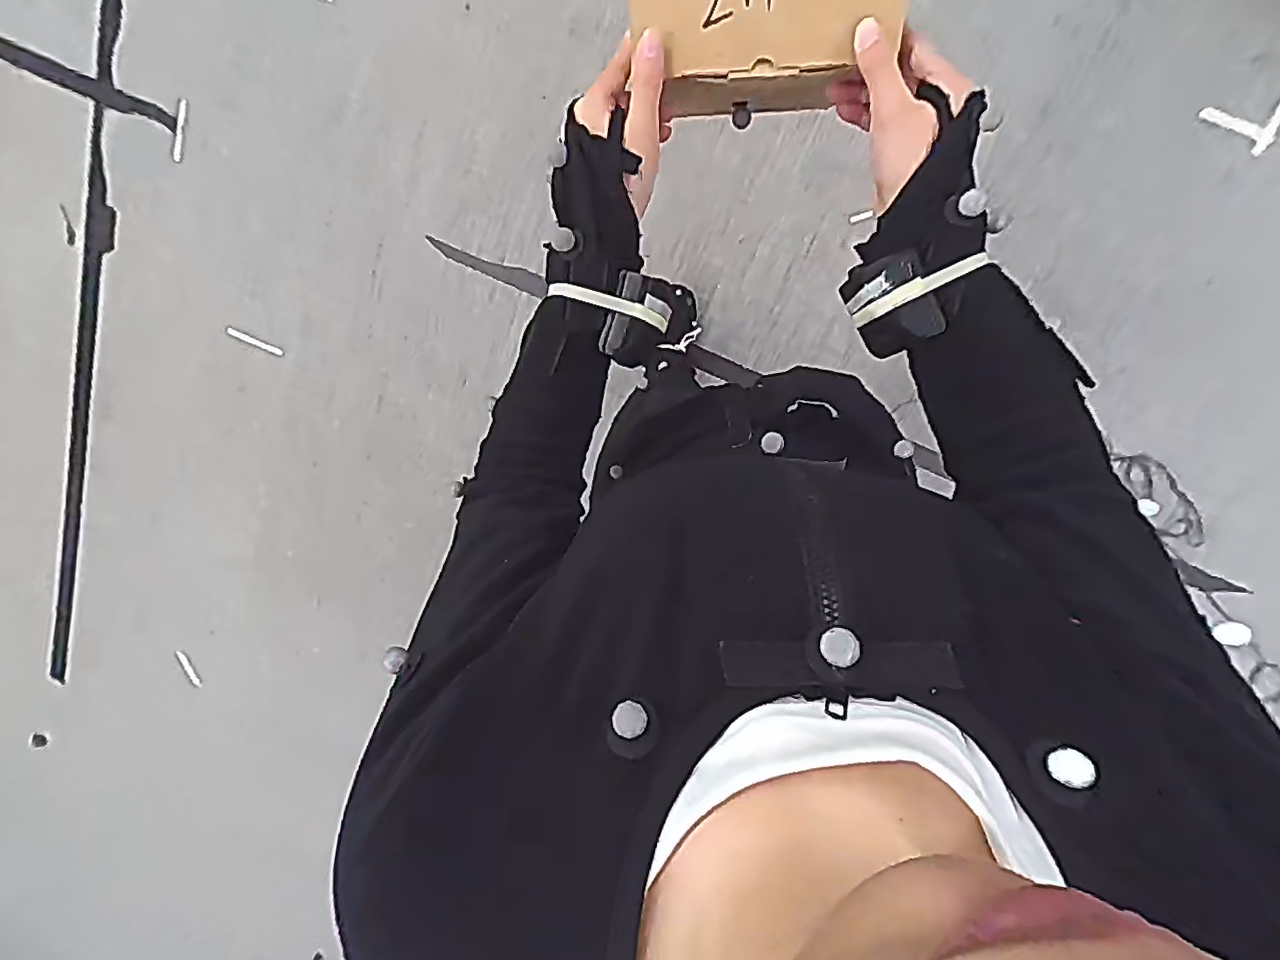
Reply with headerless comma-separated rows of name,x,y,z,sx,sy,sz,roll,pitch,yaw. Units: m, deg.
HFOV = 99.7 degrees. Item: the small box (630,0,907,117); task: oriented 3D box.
small box,0.078,-0.369,0.369,0.168,0.176,0.179,0,116,4
